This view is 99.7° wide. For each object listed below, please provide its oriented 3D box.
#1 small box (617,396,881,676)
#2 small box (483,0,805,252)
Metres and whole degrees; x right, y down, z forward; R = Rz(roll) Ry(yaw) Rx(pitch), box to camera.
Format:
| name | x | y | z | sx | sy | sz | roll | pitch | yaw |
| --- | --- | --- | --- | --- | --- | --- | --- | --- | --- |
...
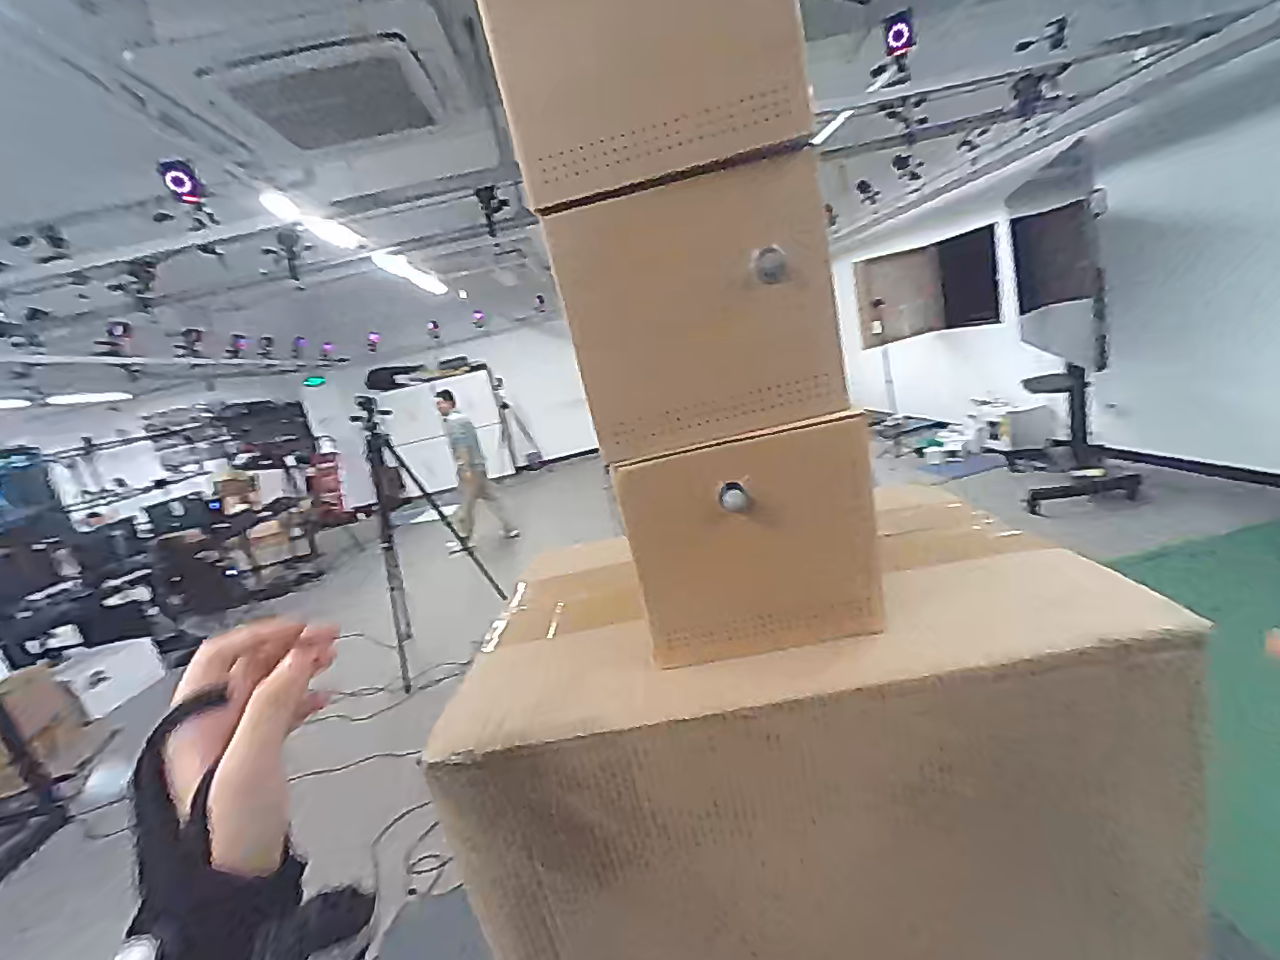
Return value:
| name | x | y | z | sx | sy | sz | roll | pitch | yaw |
| --- | --- | --- | --- | --- | --- | --- | --- | --- | --- |
| small box | 0.089 | 0.039 | 0.459 | 0.179 | 0.176 | 0.168 | -12 | 15 | 6 |
| small box | 0.010 | -0.270 | 0.379 | 0.179 | 0.176 | 0.168 | -11 | 15 | 7 |
